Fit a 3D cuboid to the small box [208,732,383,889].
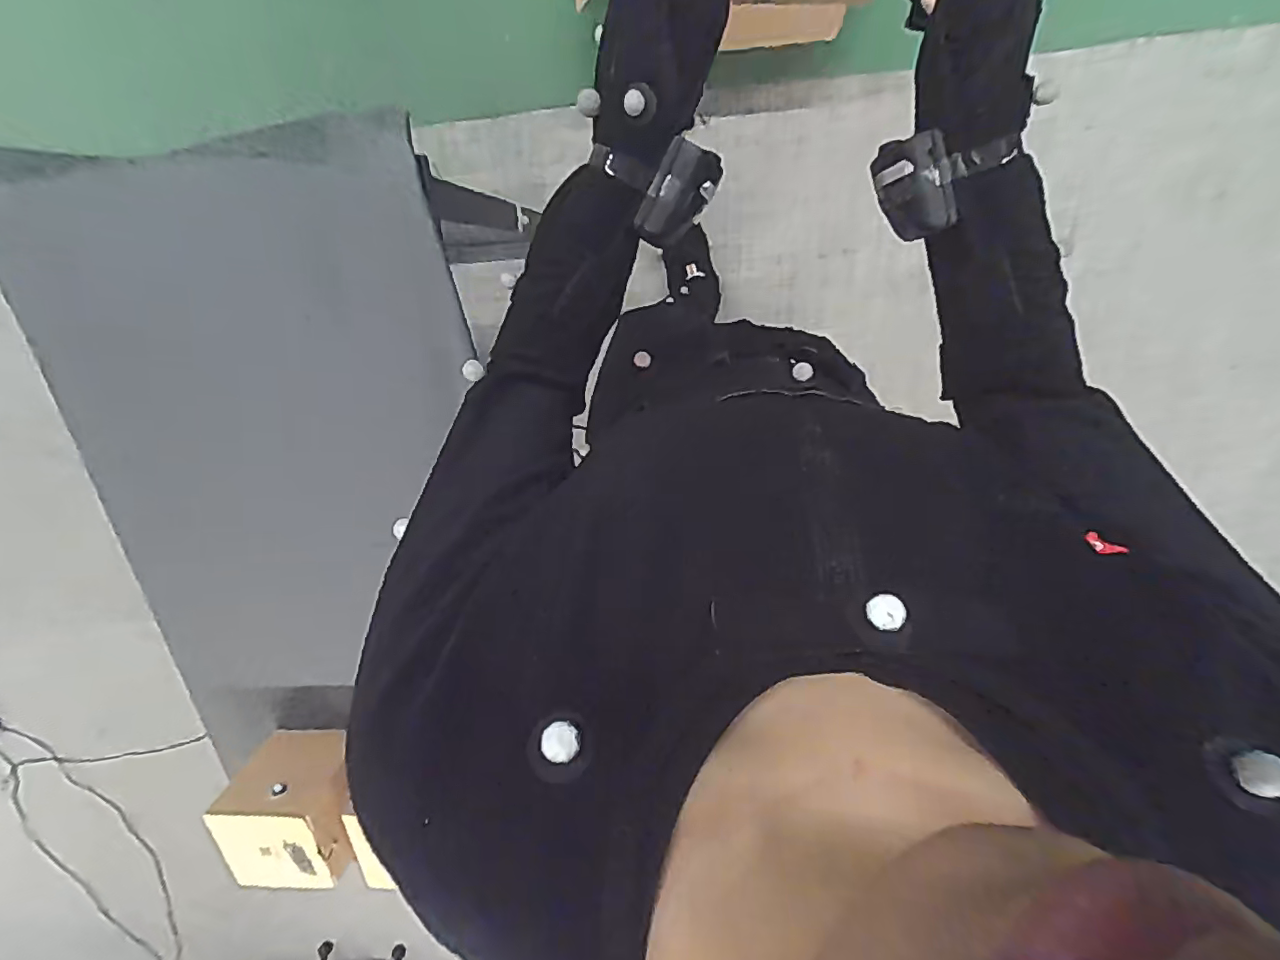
[{"bbox_3d":[-0.567,0.556,0.924,0.179,0.176,0.168,-3,111,7],"label":"small box"}]
